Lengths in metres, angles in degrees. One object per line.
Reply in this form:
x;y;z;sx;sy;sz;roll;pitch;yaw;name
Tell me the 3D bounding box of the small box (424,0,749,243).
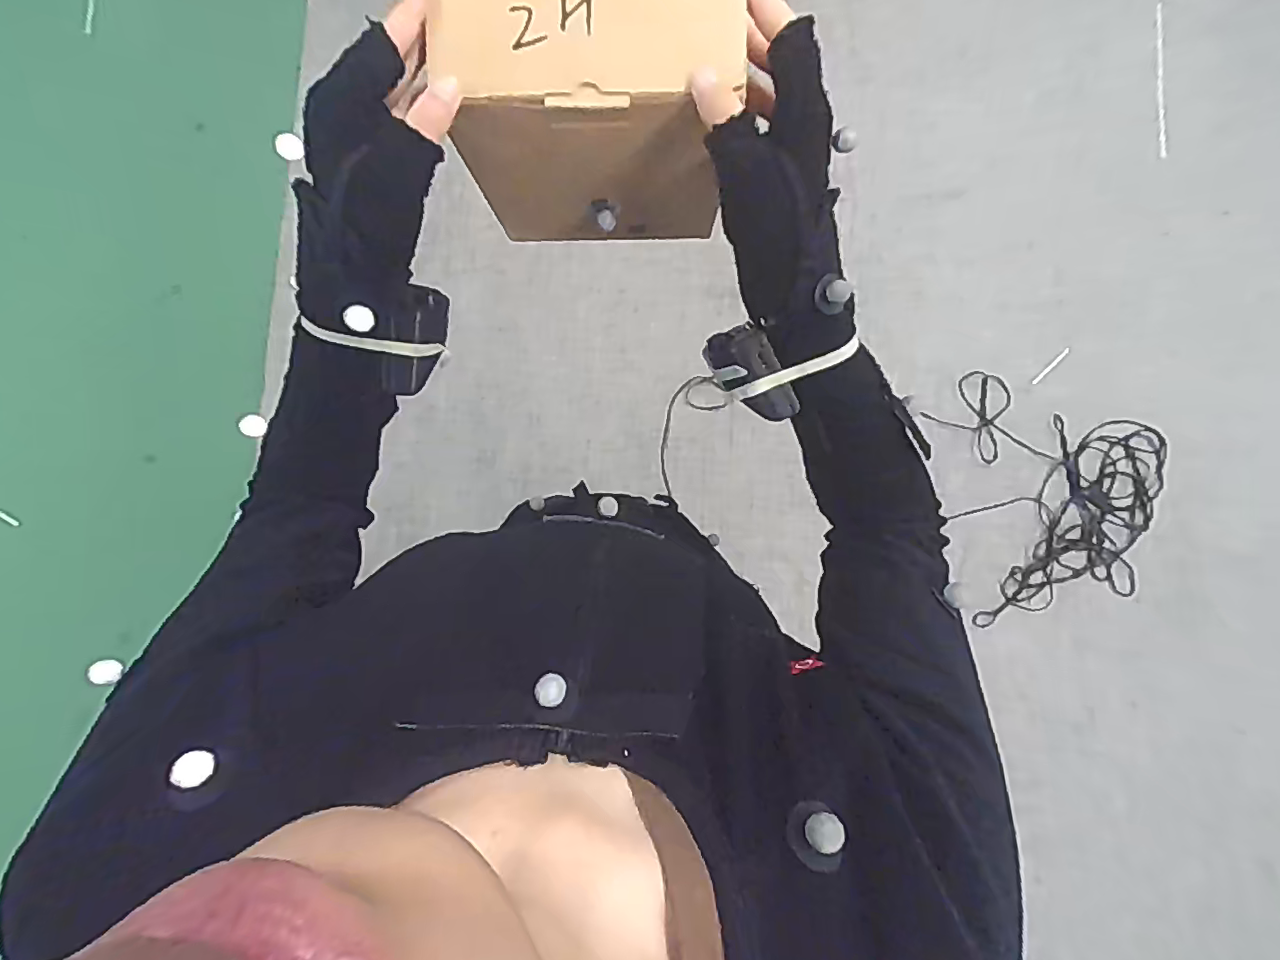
-0.025;-0.280;0.353;0.168;0.176;0.179;0;89;2;small box
